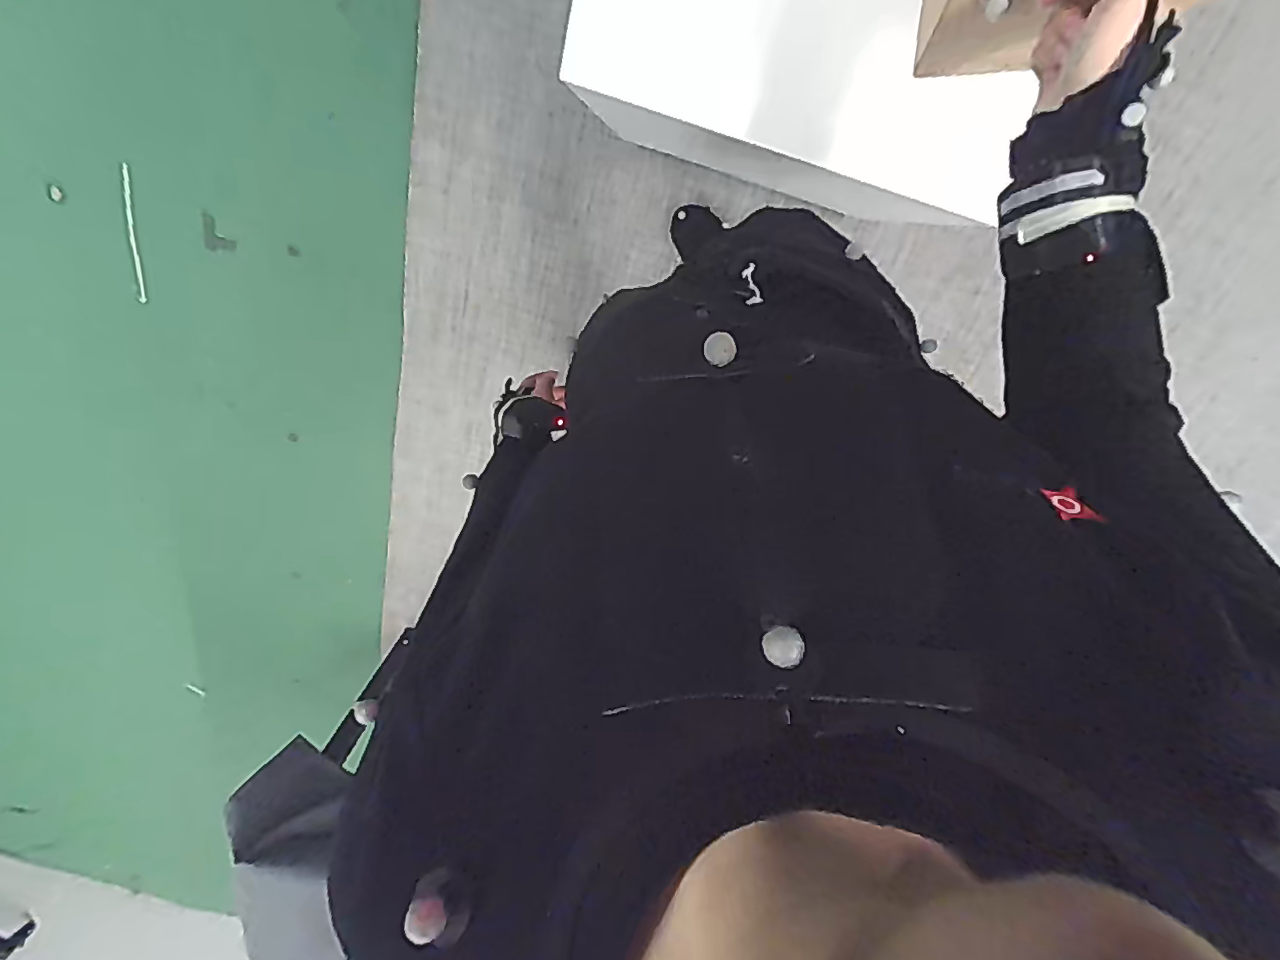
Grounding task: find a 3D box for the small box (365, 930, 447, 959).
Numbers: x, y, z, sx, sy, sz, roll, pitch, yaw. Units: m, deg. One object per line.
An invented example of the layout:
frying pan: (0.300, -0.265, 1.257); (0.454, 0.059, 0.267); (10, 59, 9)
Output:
small box: (-0.529, 1.107, 1.144); (0.168, 0.176, 0.179); (21, 116, -4)
